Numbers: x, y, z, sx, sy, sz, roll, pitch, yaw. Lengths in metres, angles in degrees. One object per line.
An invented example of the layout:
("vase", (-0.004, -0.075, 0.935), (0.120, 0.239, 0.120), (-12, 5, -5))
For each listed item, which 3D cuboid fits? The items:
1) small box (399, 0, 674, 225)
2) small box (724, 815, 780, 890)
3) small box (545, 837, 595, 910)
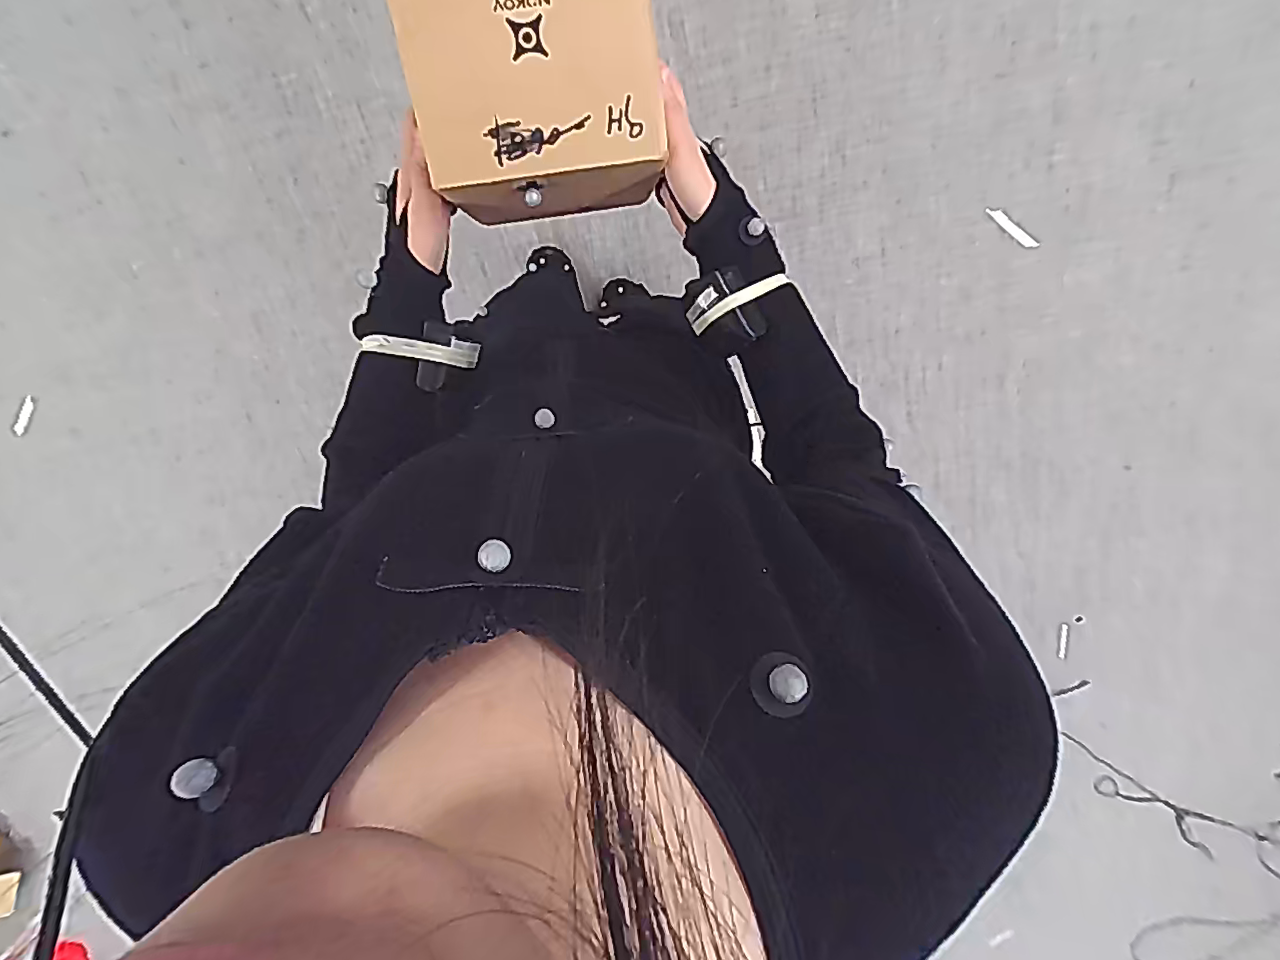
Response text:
("small box", (-0.074, -0.315, 0.419), (0.168, 0.176, 0.179), (-9, 108, -2))
("small box", (0.418, 1.392, 2.034), (0.168, 0.176, 0.179), (-11, 113, 3))
("small box", (-0.265, 1.497, 2.064), (0.179, 0.176, 0.168), (3, 111, -4))
